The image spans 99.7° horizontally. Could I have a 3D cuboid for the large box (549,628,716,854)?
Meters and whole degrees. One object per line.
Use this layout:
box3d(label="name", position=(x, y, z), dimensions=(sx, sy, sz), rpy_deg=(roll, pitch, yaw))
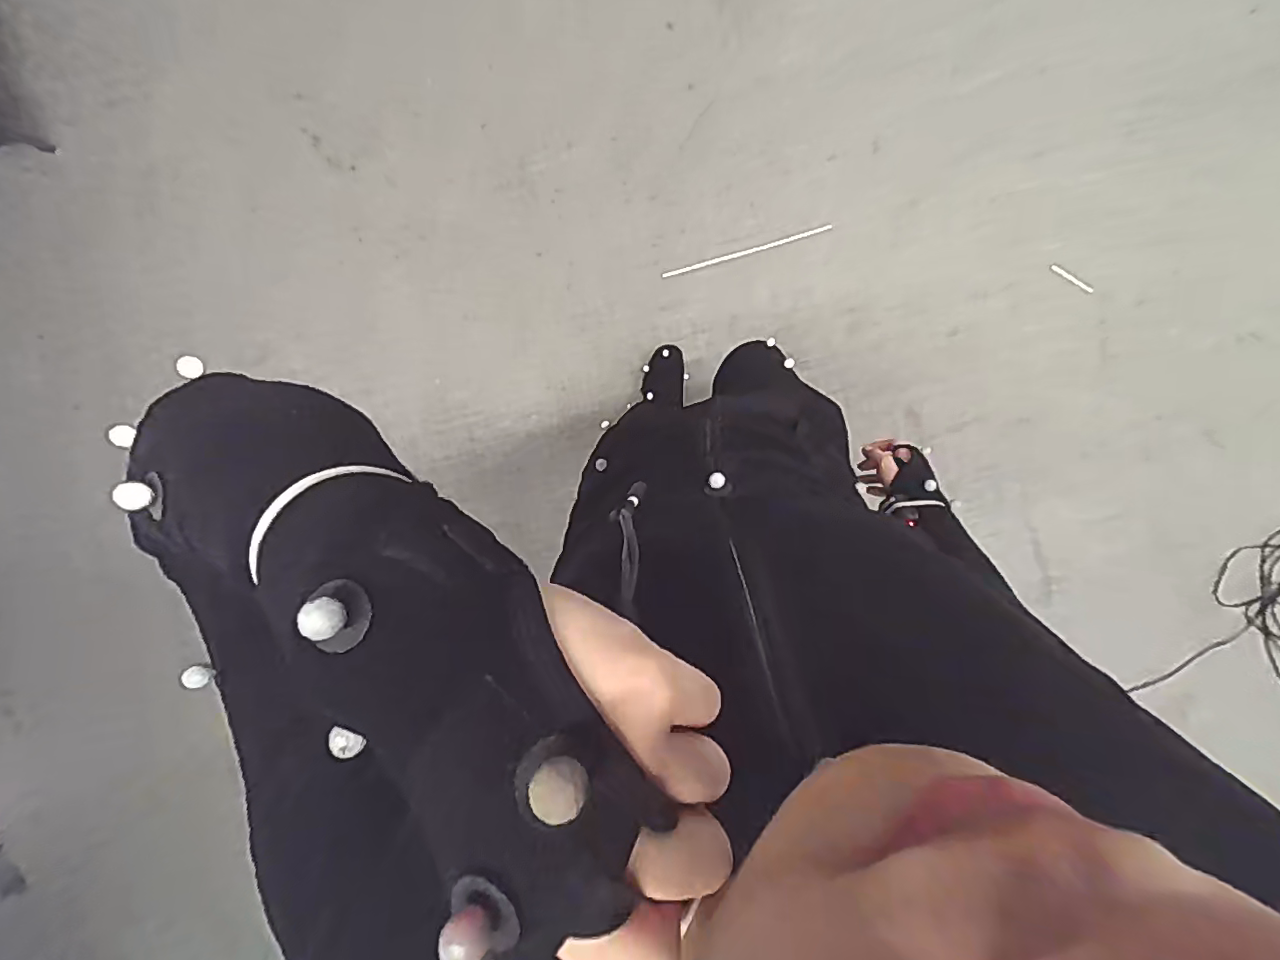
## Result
box3d(label="large box", position=(-0.017, 0.673, 1.442), dimensions=(0.320, 0.320, 0.408), rpy_deg=(-16, 101, 4))
